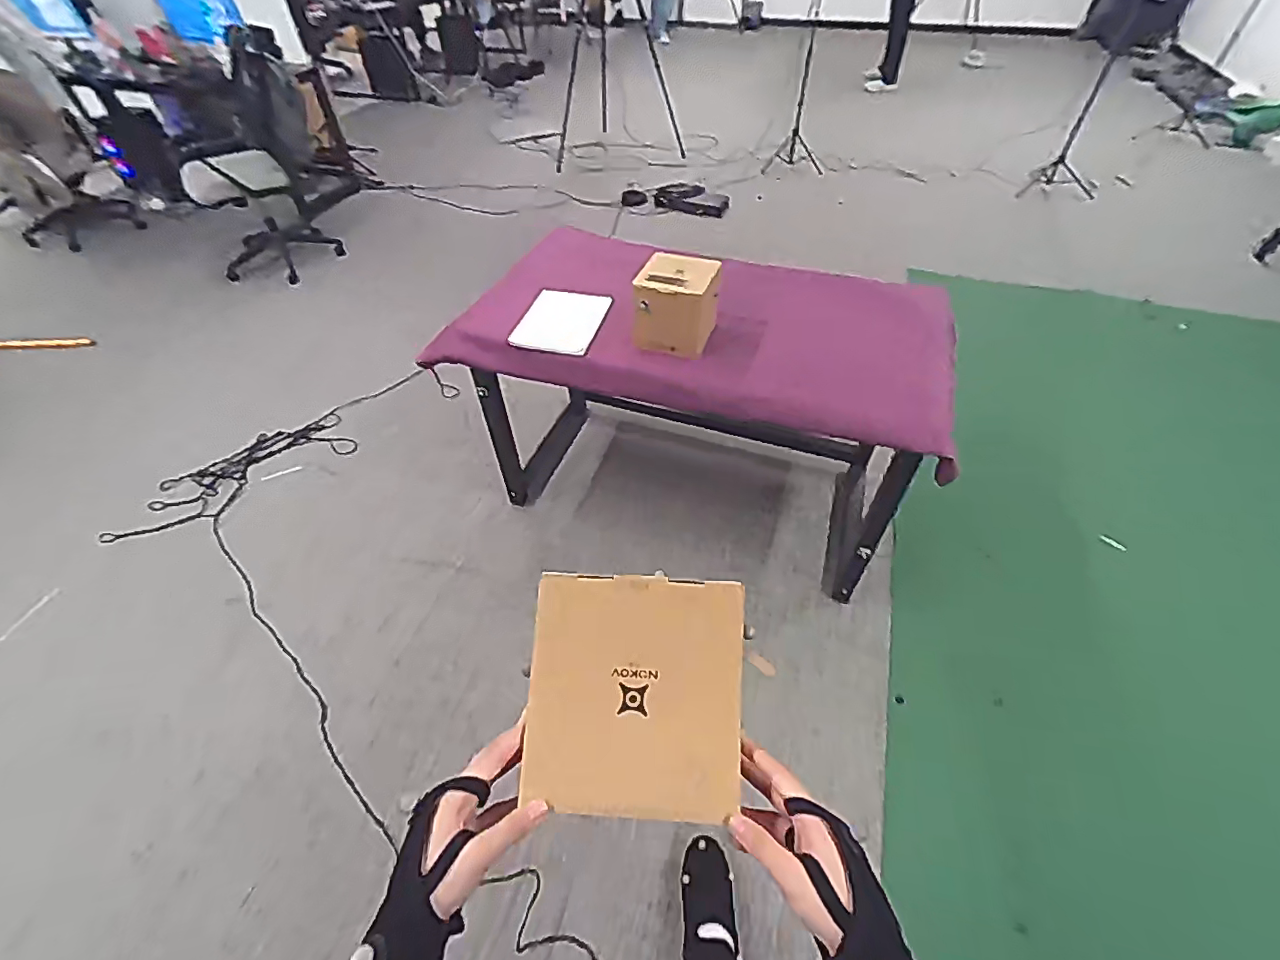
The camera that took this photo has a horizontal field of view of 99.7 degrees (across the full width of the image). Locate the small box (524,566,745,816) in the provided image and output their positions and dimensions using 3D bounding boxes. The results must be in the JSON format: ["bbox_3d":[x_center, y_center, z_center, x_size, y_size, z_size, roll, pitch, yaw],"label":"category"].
[{"bbox_3d":[0.001,0.176,0.497,0.168,0.176,0.179,3,77,3],"label":"small box"}]
